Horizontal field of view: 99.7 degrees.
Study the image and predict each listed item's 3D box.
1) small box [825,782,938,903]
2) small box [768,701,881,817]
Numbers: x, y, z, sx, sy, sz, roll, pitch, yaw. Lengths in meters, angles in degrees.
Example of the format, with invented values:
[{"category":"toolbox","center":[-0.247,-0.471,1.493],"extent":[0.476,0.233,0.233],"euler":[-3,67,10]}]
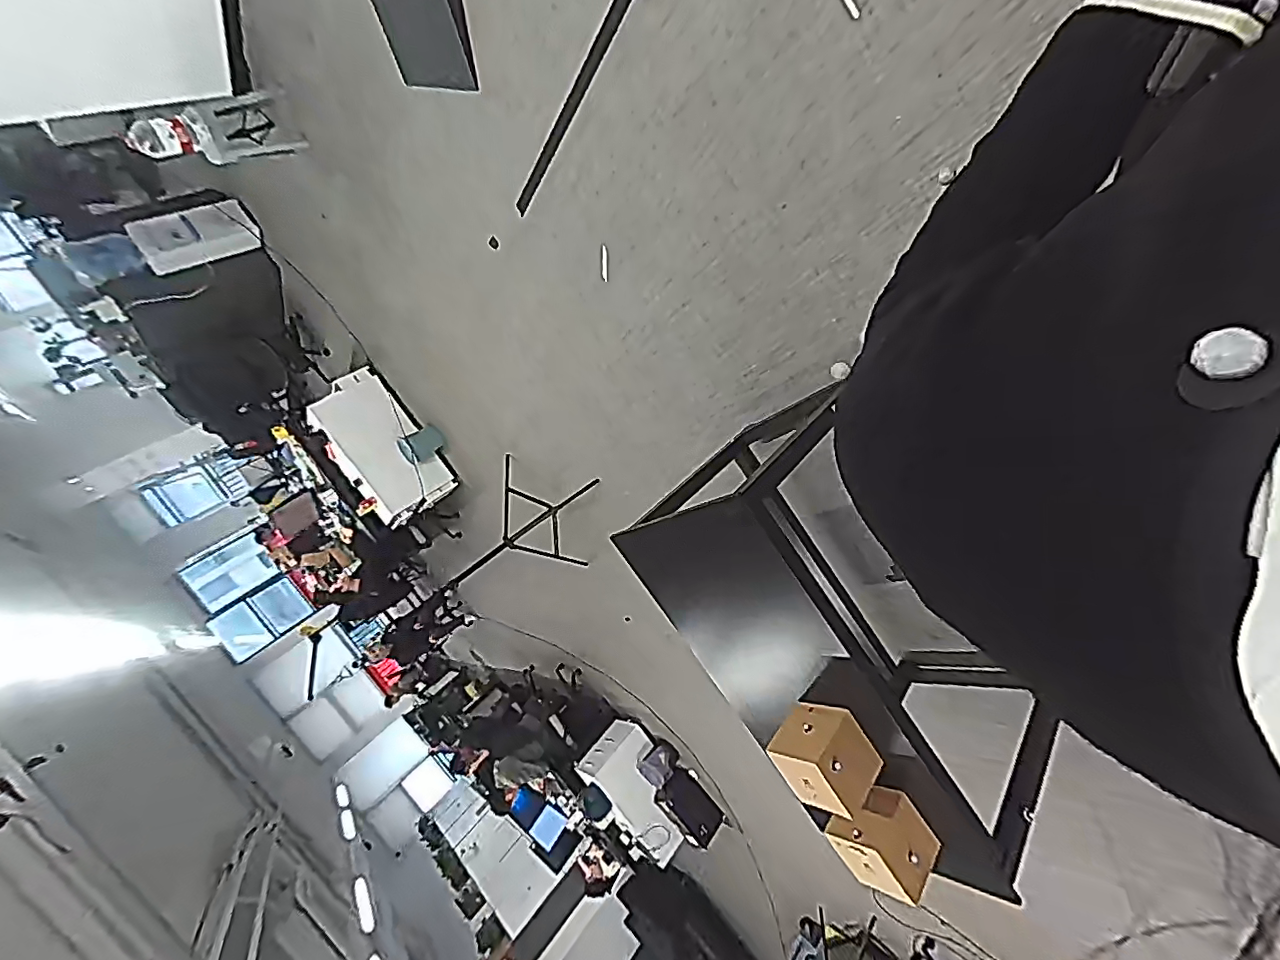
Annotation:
[{"category":"small box","center":[0.615,0.900,1.368],"extent":[0.179,0.176,0.168],"euler":[54,147,-5]},{"category":"small box","center":[0.458,0.679,1.338],"extent":[0.179,0.176,0.168],"euler":[56,148,-8]}]
